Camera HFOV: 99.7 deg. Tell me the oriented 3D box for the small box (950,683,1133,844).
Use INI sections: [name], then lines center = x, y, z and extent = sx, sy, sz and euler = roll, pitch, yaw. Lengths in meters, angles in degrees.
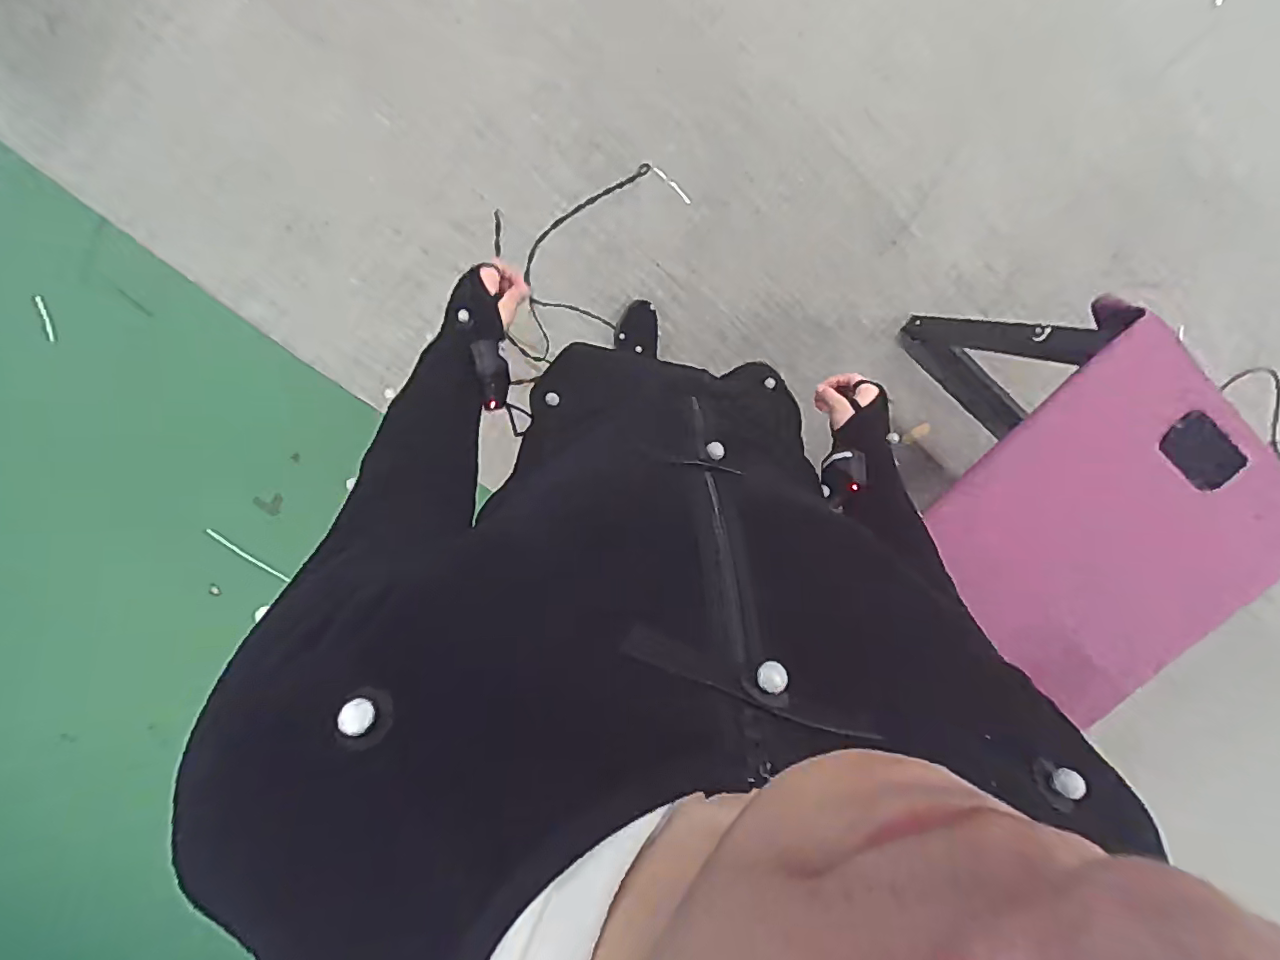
[small box]
center = 0.732, 0.516, 1.005
extent = 0.179, 0.176, 0.168
euler = 38, 103, -12
